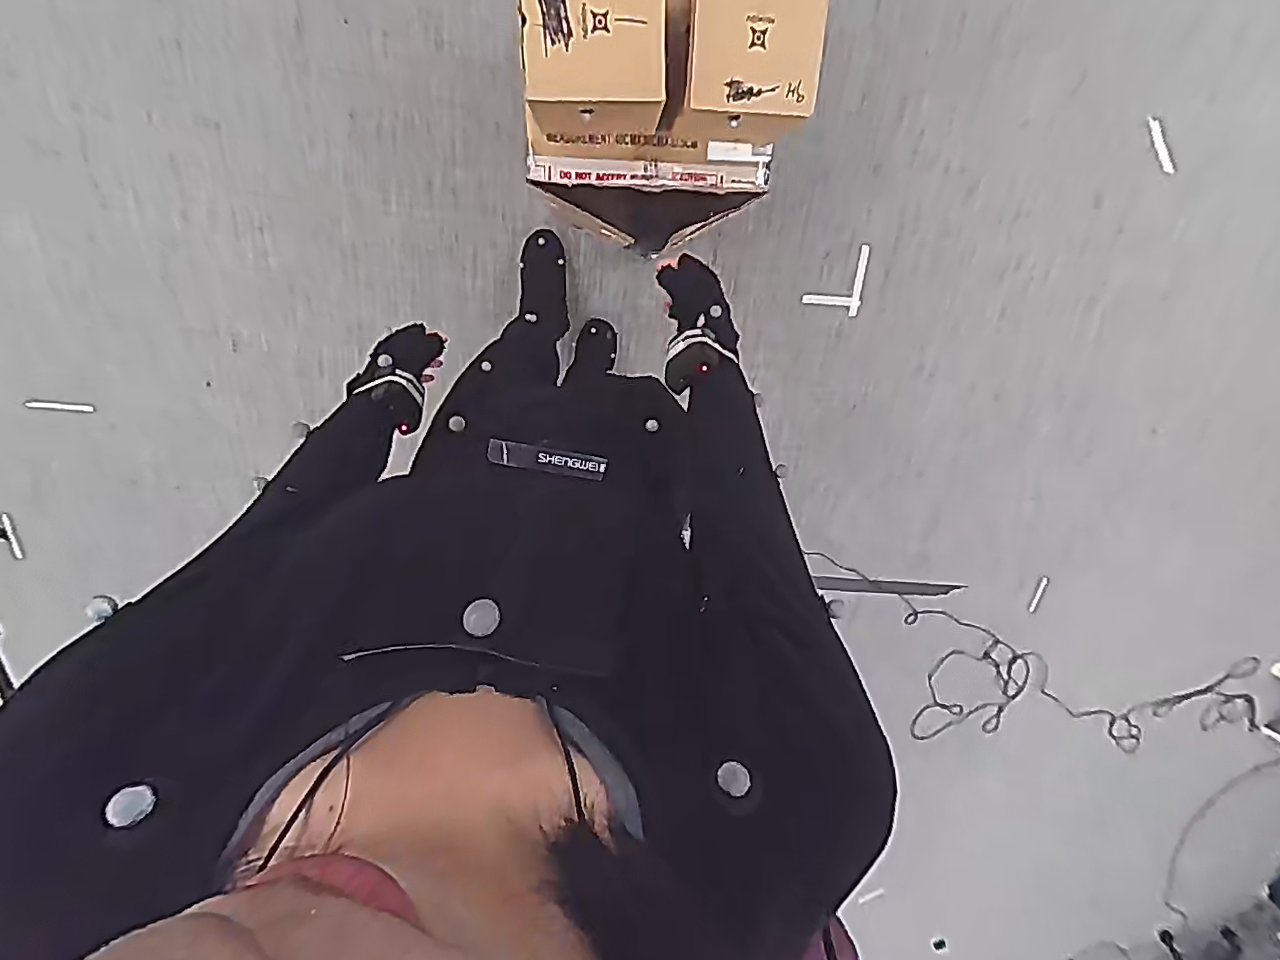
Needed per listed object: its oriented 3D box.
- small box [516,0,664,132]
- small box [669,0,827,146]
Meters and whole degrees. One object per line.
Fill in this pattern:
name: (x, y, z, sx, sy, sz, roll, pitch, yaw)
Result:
small box: (-0.063, -0.575, 0.715, 0.179, 0.176, 0.168, -2, 111, -3)
small box: (0.135, -0.578, 0.732, 0.168, 0.176, 0.179, 0, 110, -7)
